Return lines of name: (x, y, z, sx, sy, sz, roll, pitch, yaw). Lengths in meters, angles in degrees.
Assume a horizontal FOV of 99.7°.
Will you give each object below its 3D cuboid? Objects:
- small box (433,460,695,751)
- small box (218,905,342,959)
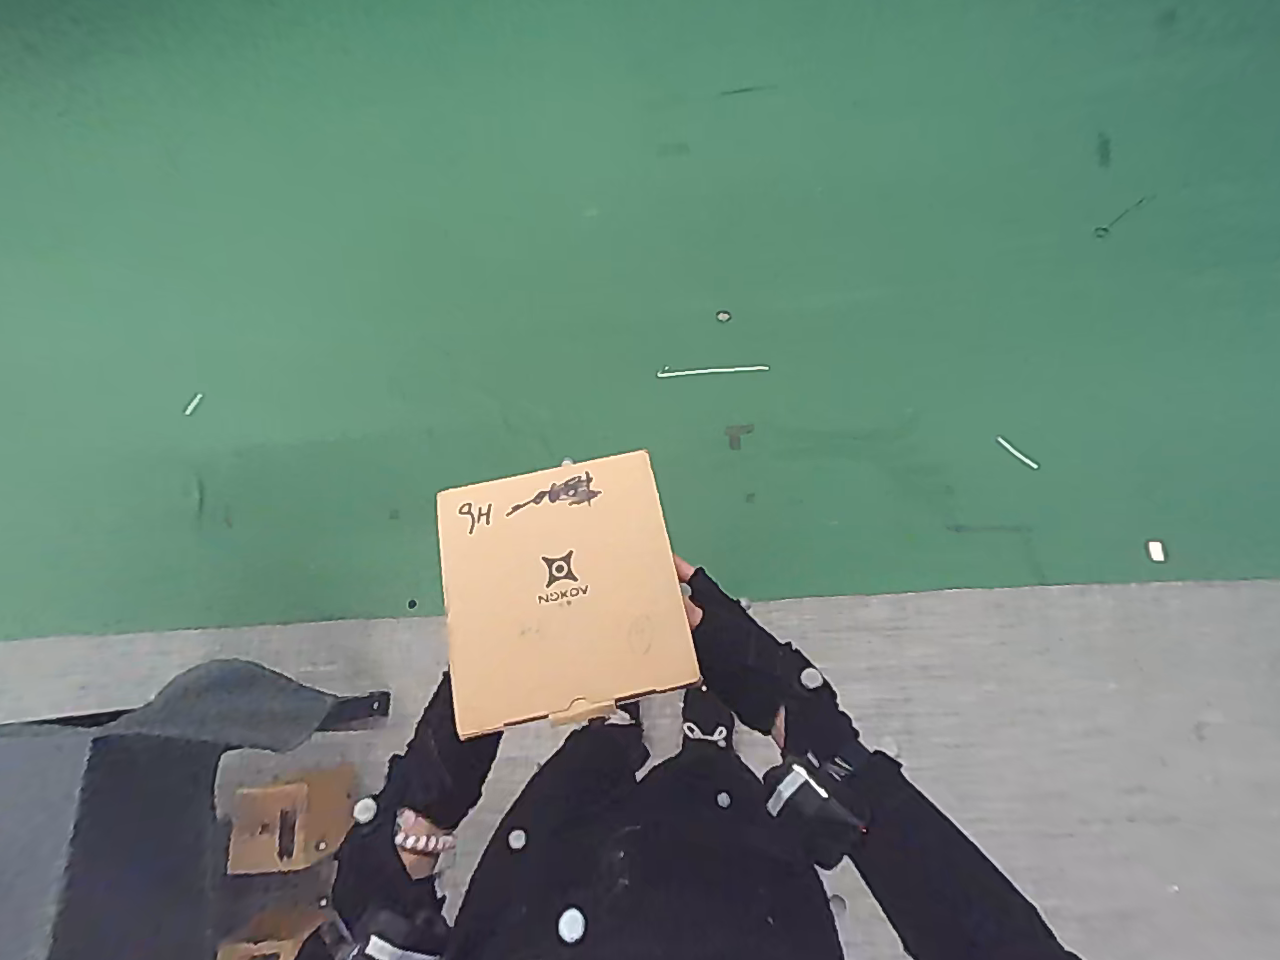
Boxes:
small box: (-0.055, 0.104, 0.453, 0.168, 0.176, 0.179, -12, 71, -3)
small box: (-0.772, 1.049, 1.163, 0.168, 0.176, 0.179, -6, 74, 4)
